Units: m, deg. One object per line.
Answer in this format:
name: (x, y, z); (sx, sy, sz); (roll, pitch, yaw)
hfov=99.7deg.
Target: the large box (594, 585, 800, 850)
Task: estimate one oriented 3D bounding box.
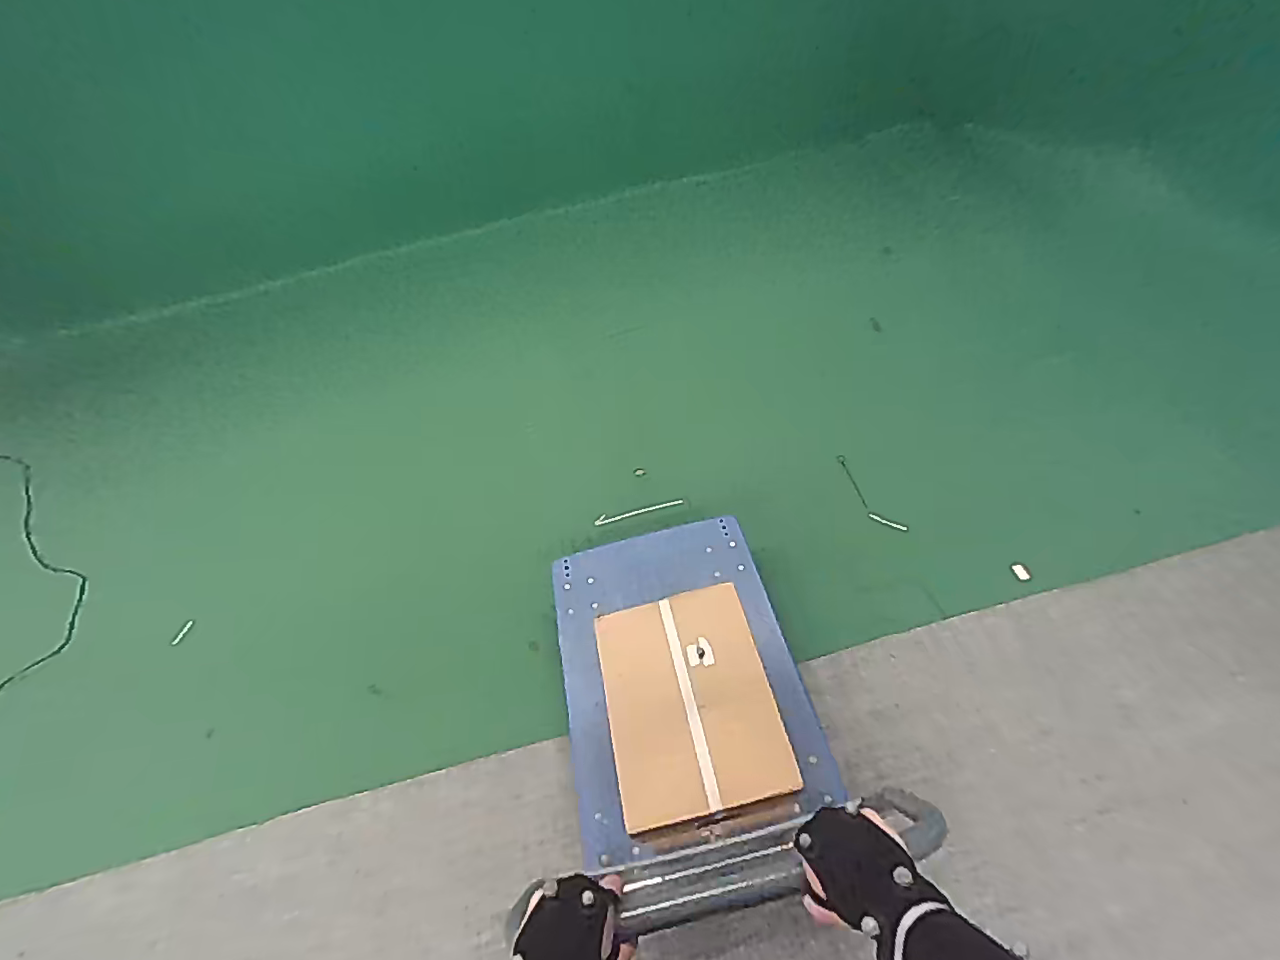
large box: (0.113, 0.504, 1.152); (0.320, 0.320, 0.408); (-14, 50, -1)
